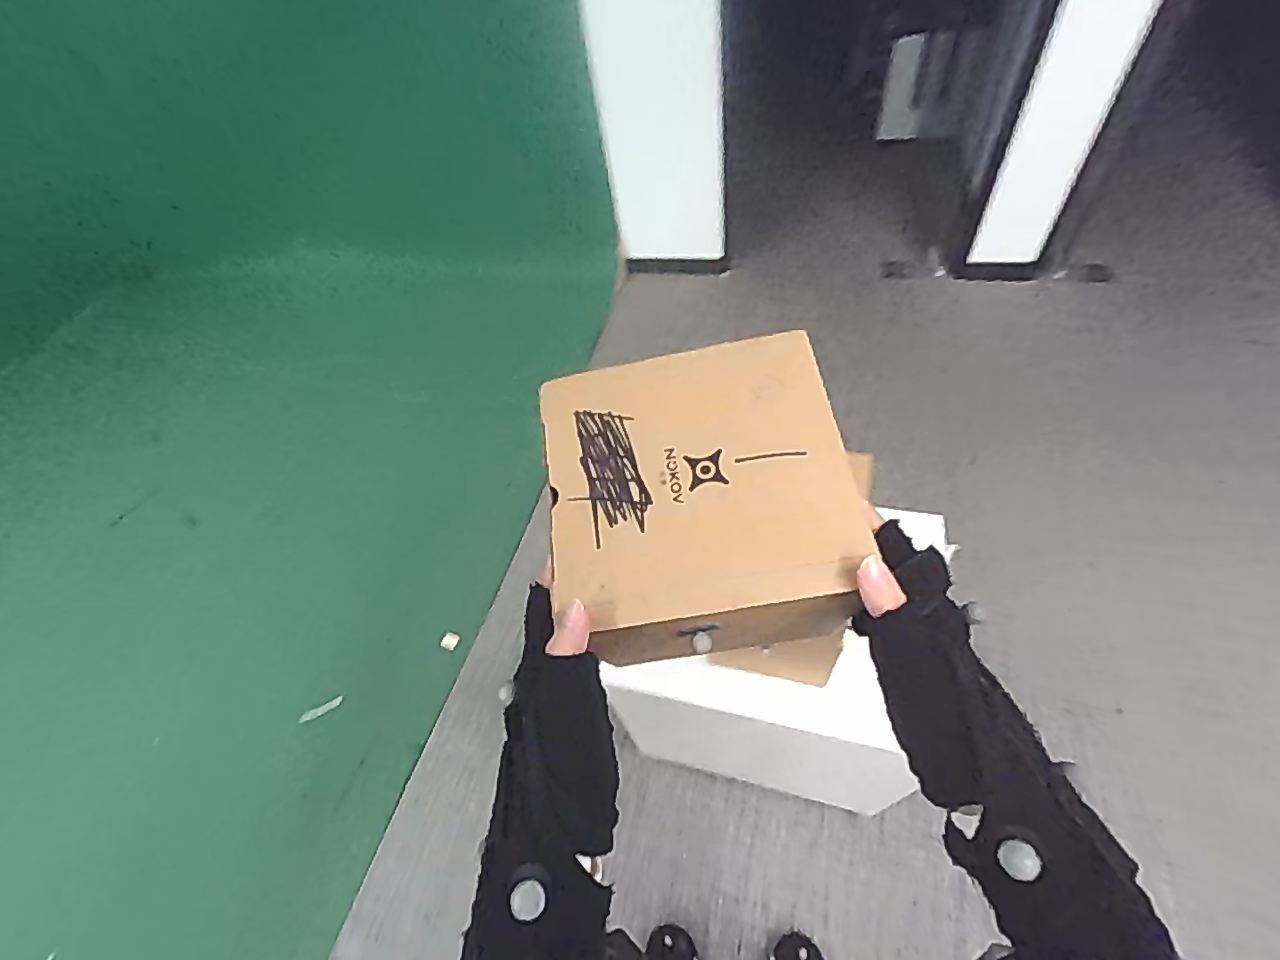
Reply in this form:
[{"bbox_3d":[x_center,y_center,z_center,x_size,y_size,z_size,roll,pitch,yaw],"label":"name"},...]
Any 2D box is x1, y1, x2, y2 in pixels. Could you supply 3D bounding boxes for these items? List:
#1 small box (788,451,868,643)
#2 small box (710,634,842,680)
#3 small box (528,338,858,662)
[{"bbox_3d":[0.179,0.078,0.671,0.168,0.176,0.179,7,55,14],"label":"small box"},{"bbox_3d":[0.197,0.178,0.796,0.179,0.176,0.168,8,55,14],"label":"small box"},{"bbox_3d":[0.032,0.030,0.392,0.179,0.176,0.168,-11,65,4],"label":"small box"}]
